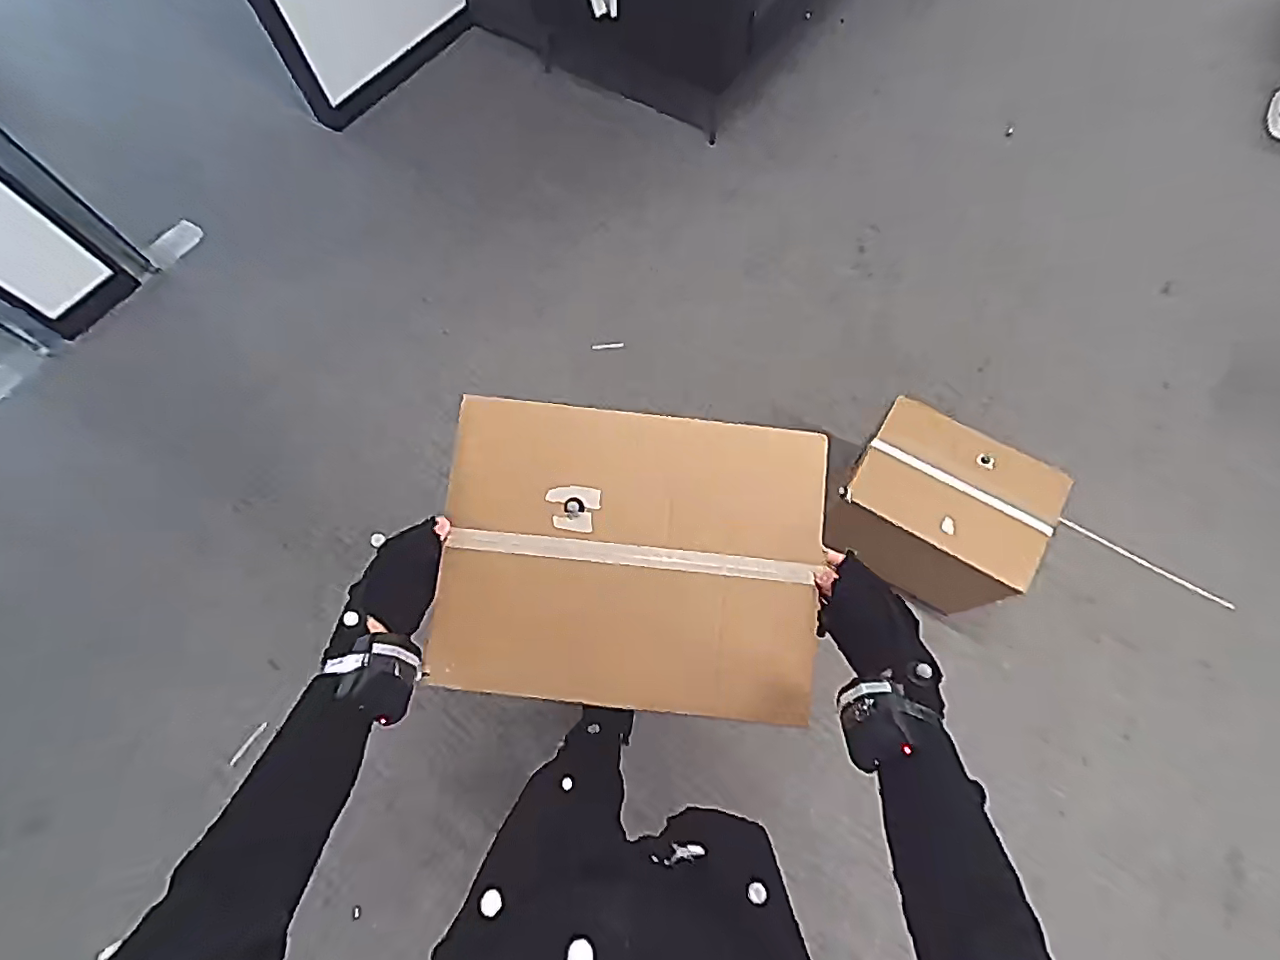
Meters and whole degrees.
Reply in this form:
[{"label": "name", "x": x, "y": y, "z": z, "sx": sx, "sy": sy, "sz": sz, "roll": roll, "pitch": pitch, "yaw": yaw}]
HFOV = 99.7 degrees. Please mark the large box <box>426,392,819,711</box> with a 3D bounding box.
[{"label": "large box", "x": -0.010, "y": 0.085, "z": 0.725, "sx": 0.408, "sy": 0.320, "sz": 0.320, "roll": 6, "pitch": 83, "yaw": 2}]
